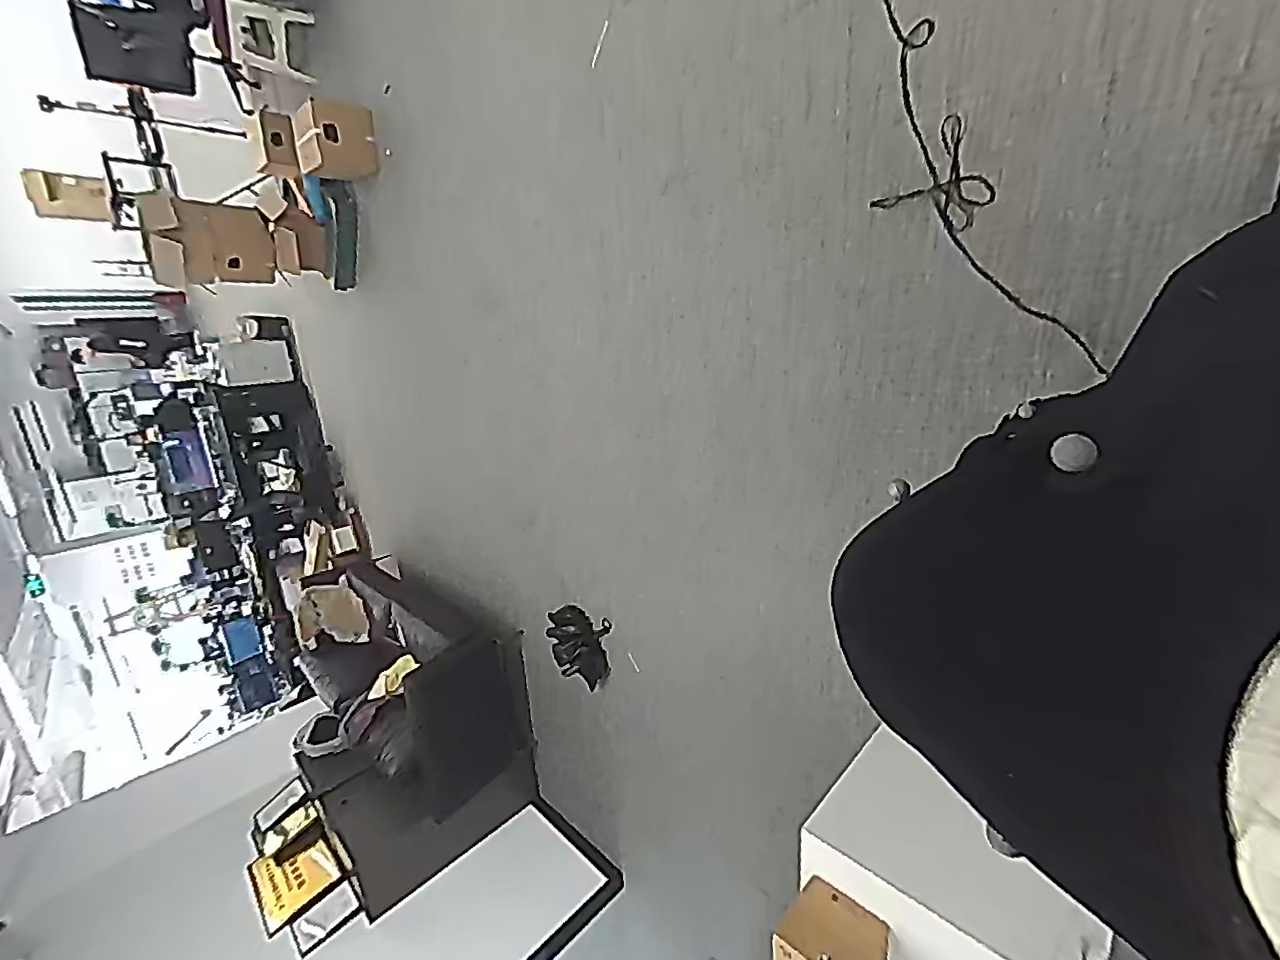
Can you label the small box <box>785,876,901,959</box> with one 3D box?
[{"bbox_3d":[0.411,0.970,1.092,0.168,0.176,0.179,11,112,45],"label":"small box"}]
